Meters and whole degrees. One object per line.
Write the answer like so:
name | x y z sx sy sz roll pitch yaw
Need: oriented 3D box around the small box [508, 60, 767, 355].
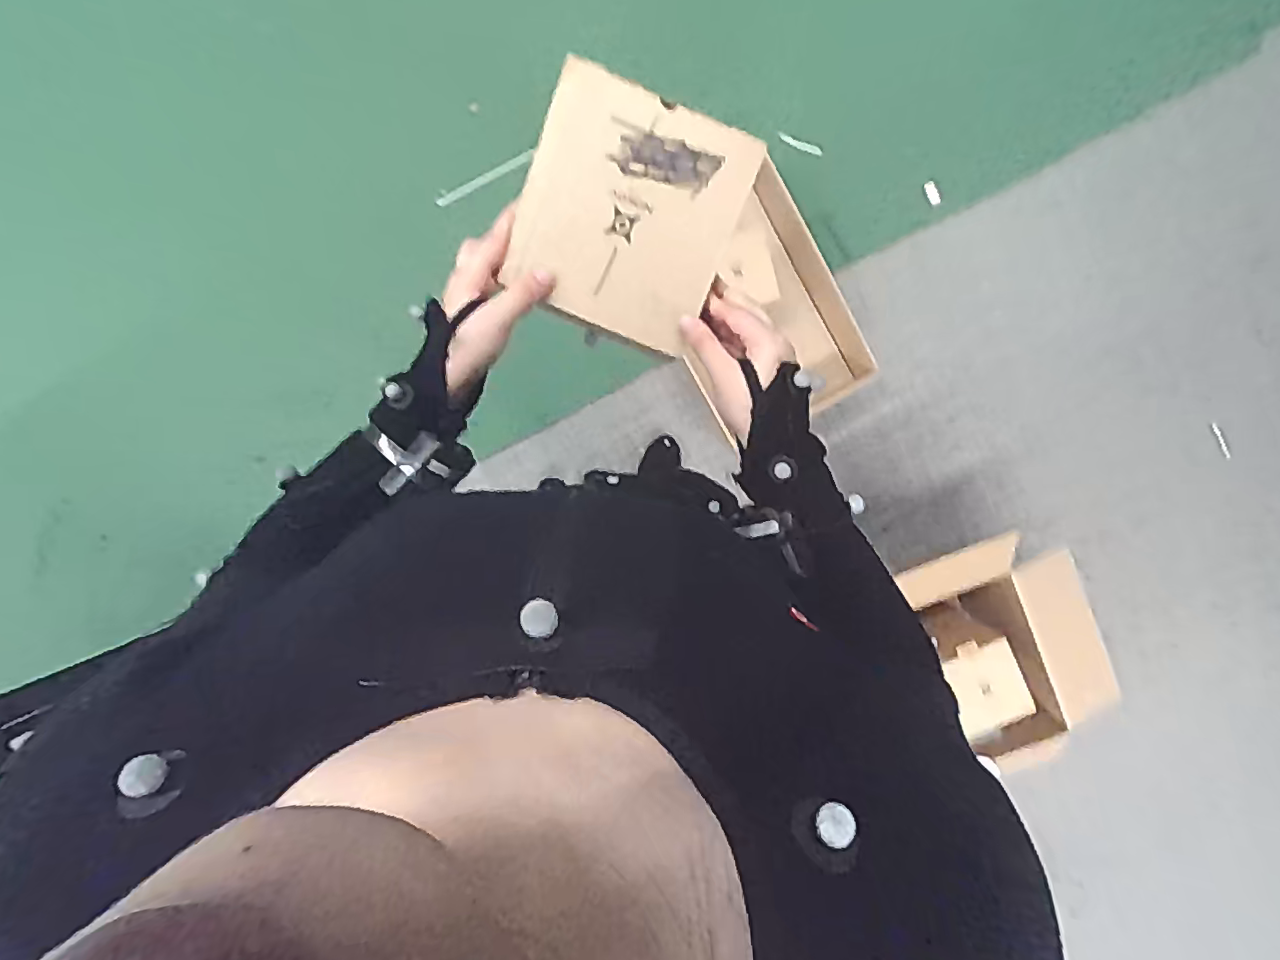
small box | -0.004 -0.230 0.511 0.168 0.176 0.179 20 100 -3

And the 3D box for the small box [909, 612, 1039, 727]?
small box | 0.759 0.425 1.251 0.168 0.176 0.179 -25 94 4

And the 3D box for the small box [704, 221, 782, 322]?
small box | 0.231 -0.499 1.327 0.168 0.176 0.179 -16 95 0
